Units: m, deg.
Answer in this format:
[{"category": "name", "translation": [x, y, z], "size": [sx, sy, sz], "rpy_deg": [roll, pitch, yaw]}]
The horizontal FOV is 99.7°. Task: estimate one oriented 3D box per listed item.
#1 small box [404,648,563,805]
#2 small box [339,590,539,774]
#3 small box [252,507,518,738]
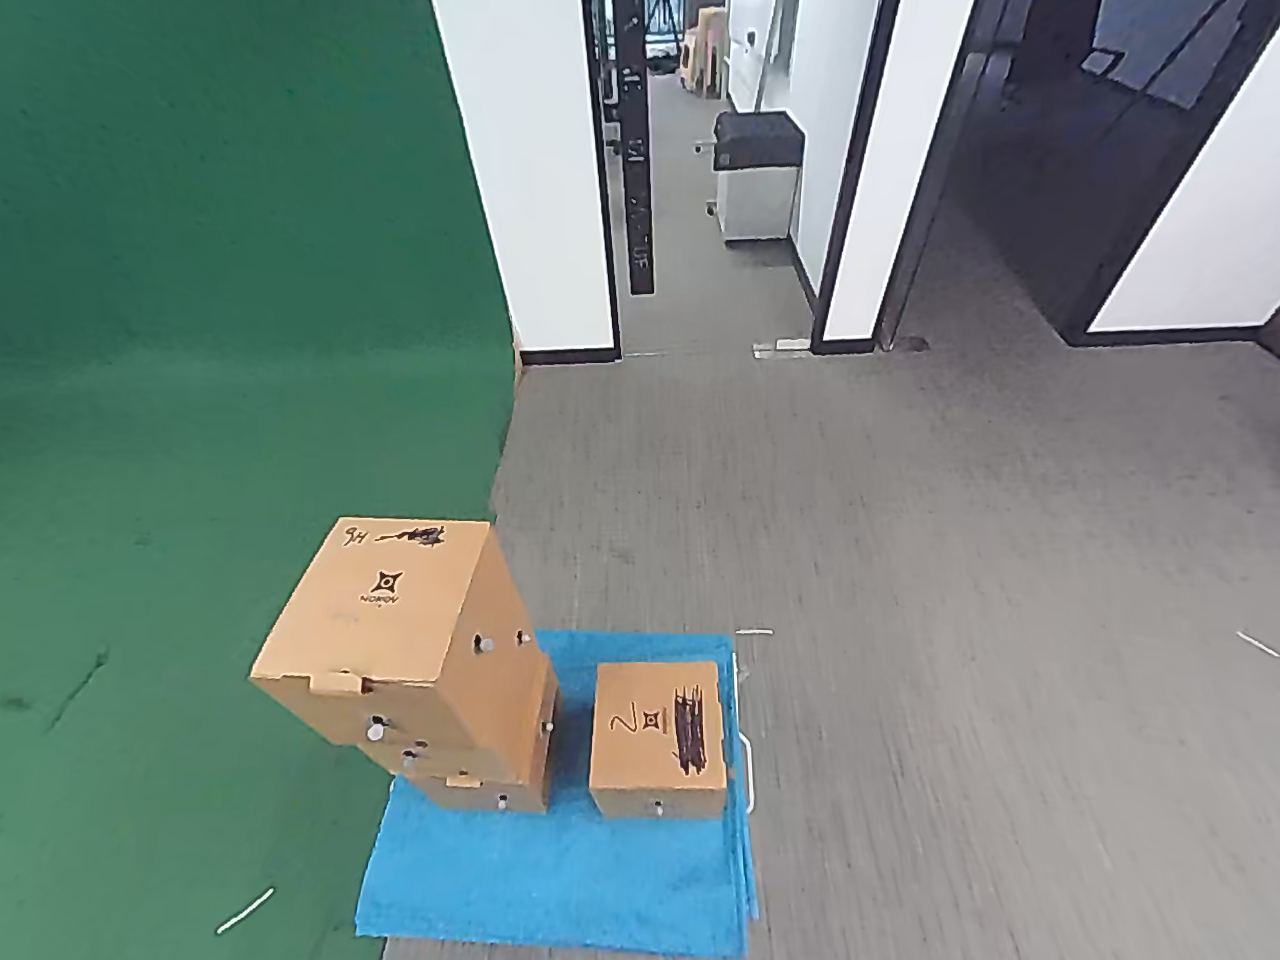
[{"category": "small box", "translation": [-0.216, 0.365, 0.804], "size": [0.168, 0.176, 0.179], "rpy_deg": [2, 46, 4]}, {"category": "small box", "translation": [-0.234, 0.254, 0.687], "size": [0.168, 0.176, 0.179], "rpy_deg": [2, 46, 5]}, {"category": "small box", "translation": [-0.236, 0.149, 0.560], "size": [0.168, 0.176, 0.179], "rpy_deg": [3, 47, 4]}]
